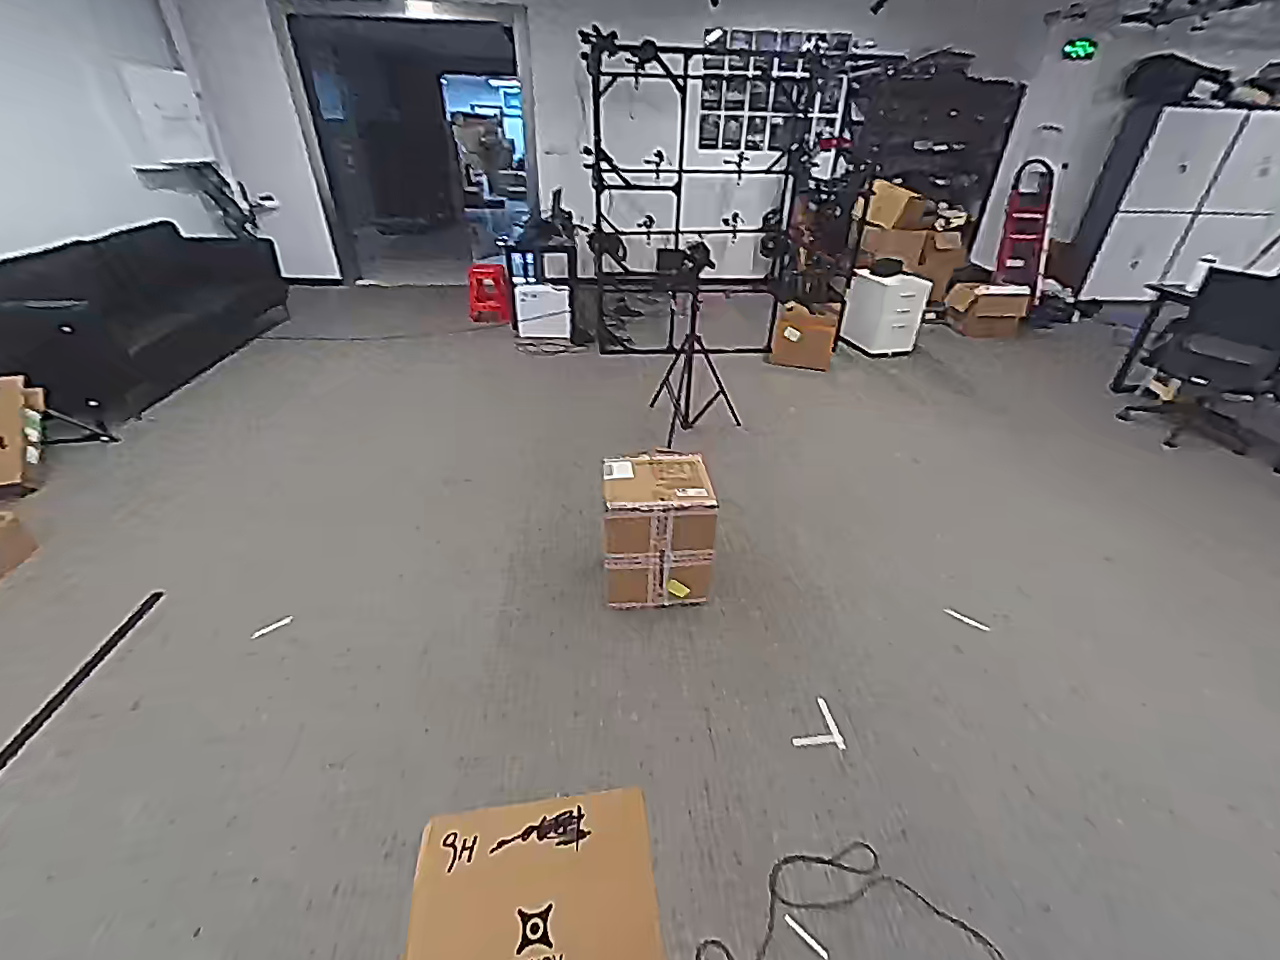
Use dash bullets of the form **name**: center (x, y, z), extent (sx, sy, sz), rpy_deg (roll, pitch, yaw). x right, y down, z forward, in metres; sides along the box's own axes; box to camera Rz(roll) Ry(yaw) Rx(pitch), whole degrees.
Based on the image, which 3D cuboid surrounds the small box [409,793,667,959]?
- **small box**: center (-0.064, 0.364, 0.394), extent (0.168, 0.176, 0.179), rpy_deg (-5, 39, -6)
